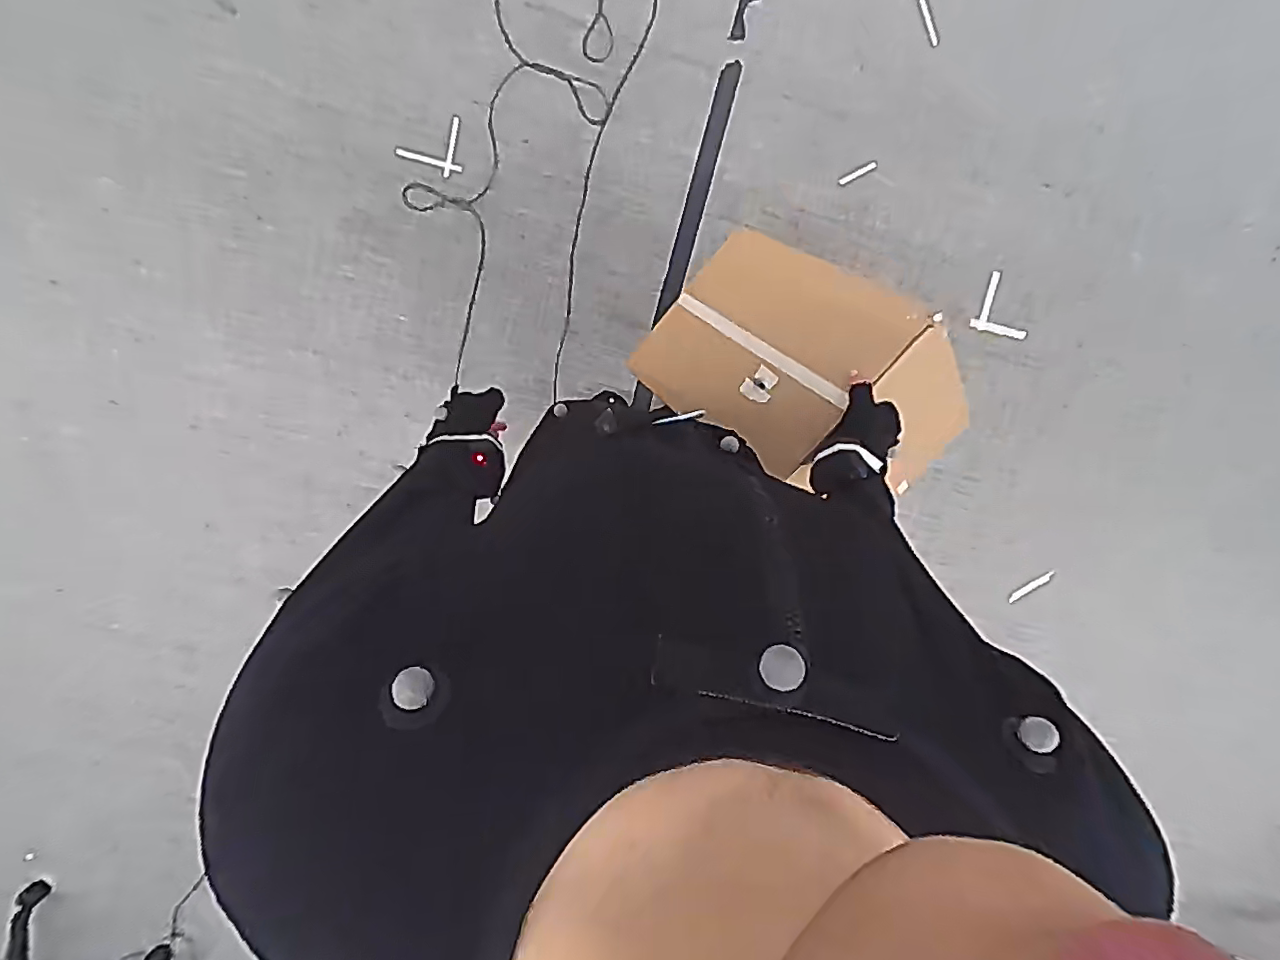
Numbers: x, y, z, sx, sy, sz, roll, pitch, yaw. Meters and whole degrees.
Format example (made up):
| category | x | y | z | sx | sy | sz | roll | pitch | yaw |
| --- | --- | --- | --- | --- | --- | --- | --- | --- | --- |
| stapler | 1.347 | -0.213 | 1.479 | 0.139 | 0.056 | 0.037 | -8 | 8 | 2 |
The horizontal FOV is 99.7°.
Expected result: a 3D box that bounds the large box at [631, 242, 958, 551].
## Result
| category | x | y | z | sx | sy | sz | roll | pitch | yaw |
| --- | --- | --- | --- | --- | --- | --- | --- | --- | --- |
| large box | 0.263 | -0.146 | 0.952 | 0.320 | 0.408 | 0.320 | -49 | 139 | 9 |
